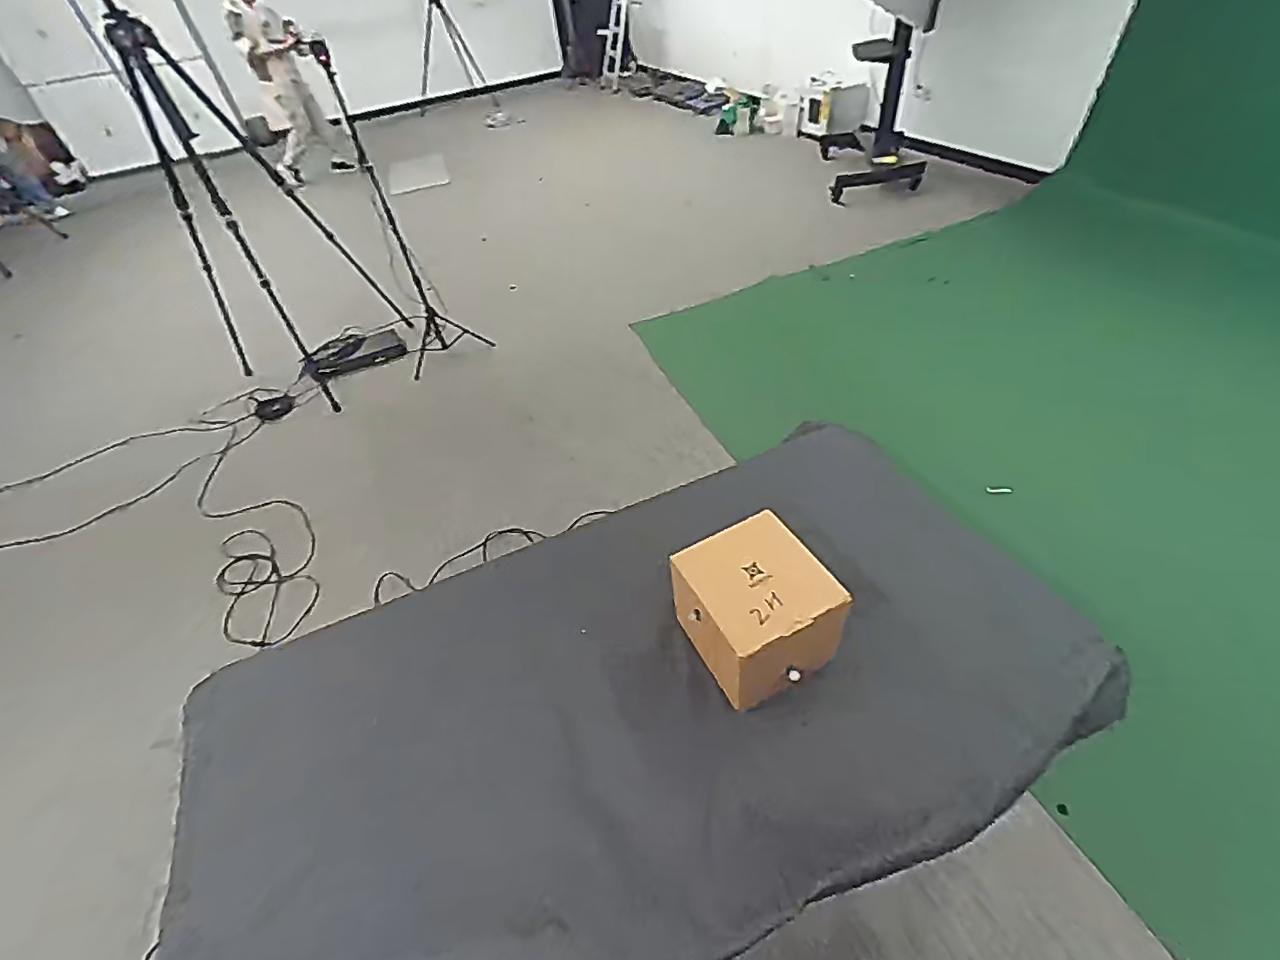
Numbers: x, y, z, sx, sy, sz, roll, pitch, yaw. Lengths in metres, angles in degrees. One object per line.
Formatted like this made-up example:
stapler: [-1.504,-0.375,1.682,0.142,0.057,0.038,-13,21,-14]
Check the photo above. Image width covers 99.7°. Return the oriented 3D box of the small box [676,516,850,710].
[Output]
small box: [0.164,0.189,0.769,0.168,0.176,0.179,-23,47,-13]
